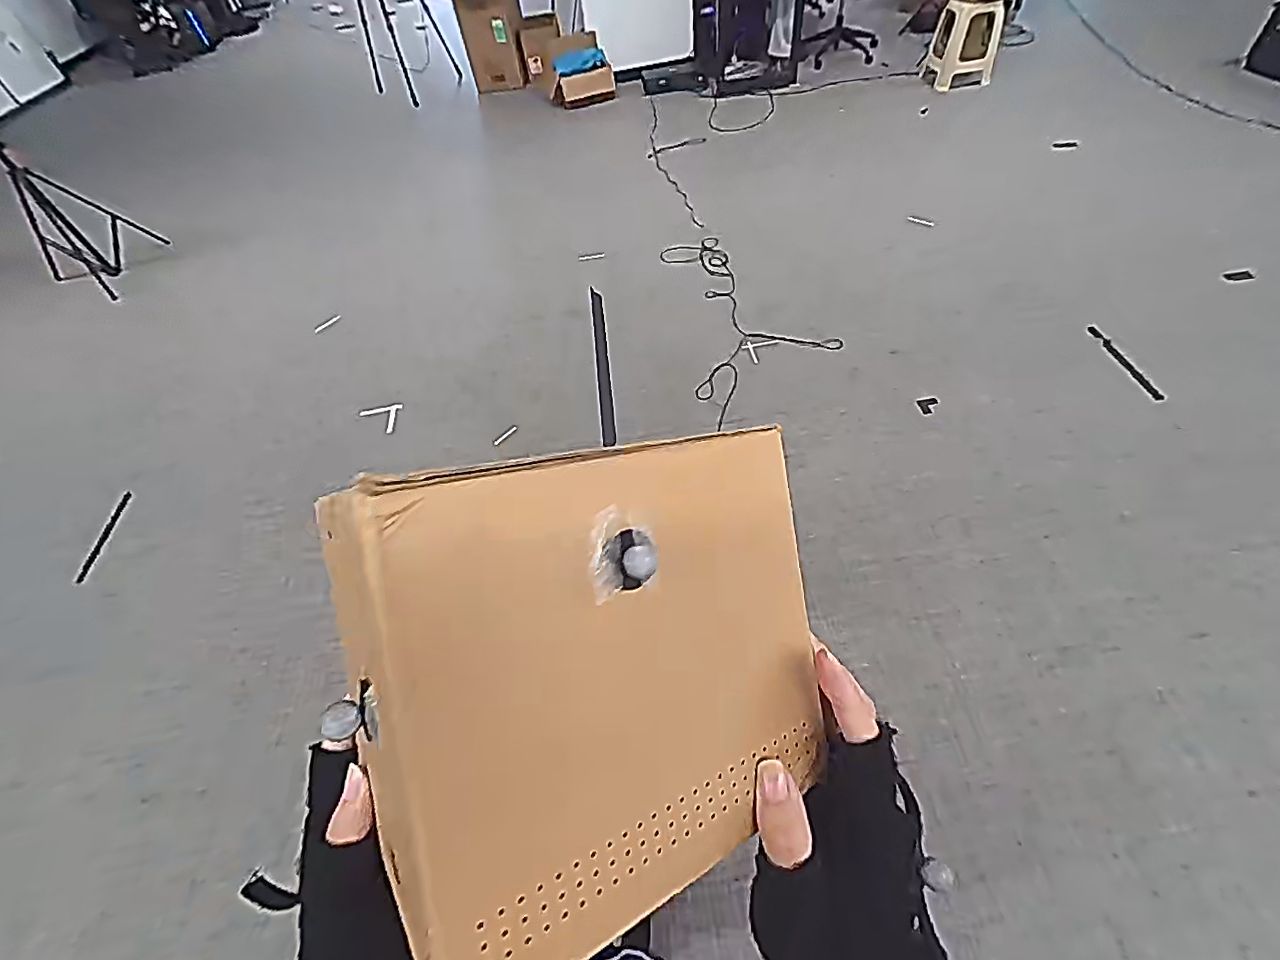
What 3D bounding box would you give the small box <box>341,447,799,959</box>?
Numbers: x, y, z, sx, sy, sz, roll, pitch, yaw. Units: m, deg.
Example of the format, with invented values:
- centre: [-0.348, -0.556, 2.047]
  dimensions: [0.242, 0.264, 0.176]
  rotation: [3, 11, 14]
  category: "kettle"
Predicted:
- centre: [-0.038, 0.085, 0.283]
  dimensions: [0.179, 0.176, 0.168]
  rotation: [-9, 1, -35]
  category: "small box"
